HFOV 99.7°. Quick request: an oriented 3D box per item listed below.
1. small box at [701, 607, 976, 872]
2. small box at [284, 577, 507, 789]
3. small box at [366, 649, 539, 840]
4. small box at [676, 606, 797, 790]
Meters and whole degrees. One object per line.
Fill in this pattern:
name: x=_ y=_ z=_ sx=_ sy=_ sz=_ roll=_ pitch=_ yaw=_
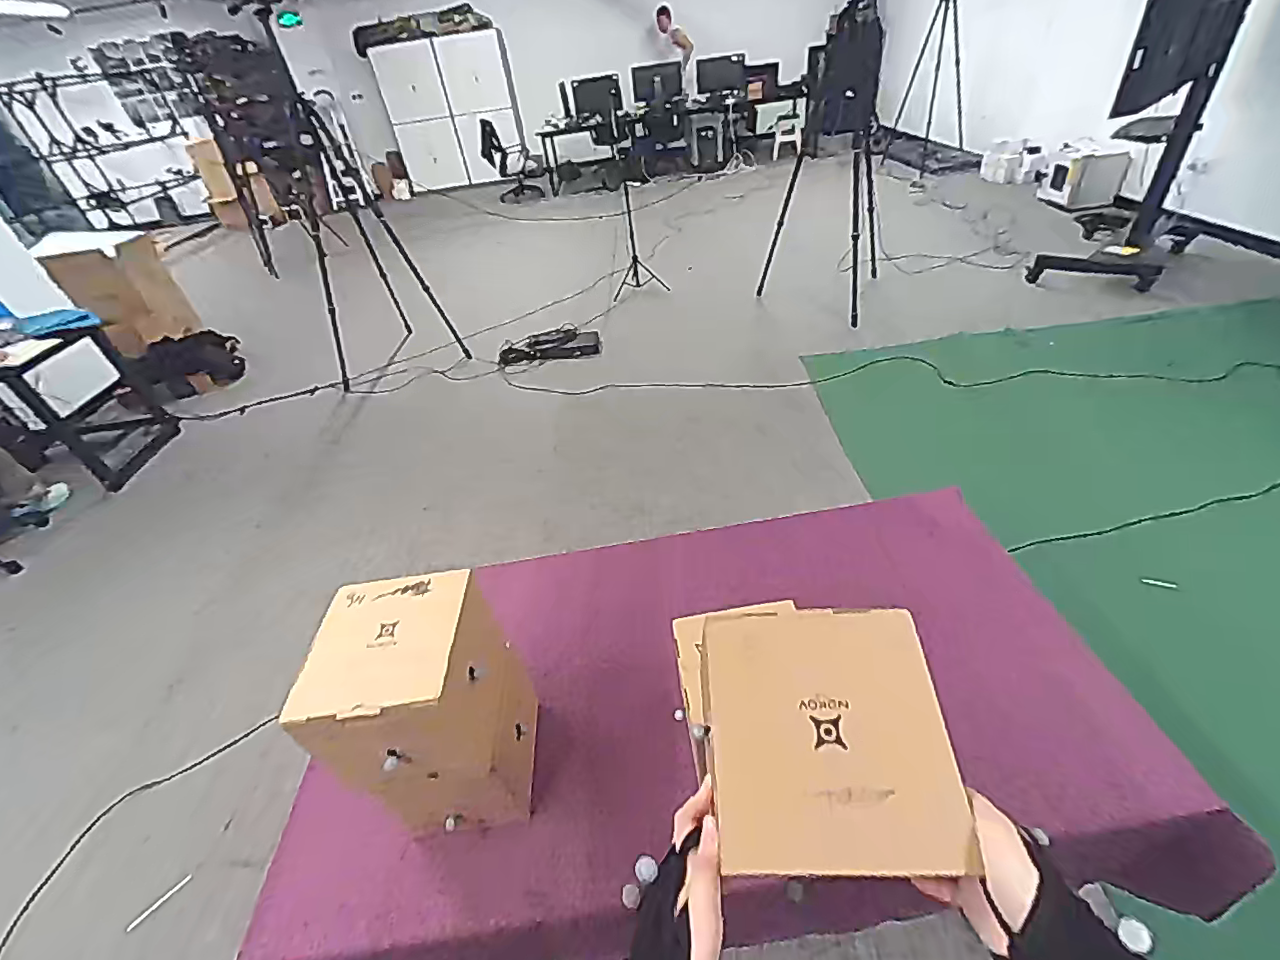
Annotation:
small box: x=0.139 y=0.223 z=0.460 sx=0.168 sy=0.176 sz=0.179 roll=-3 pitch=55 yaw=4
small box: x=-0.266 y=0.245 z=0.643 sx=0.168 sy=0.176 sz=0.179 roll=-8 pitch=39 yaw=1
small box: x=-0.242 y=0.366 z=0.752 sx=0.168 sy=0.176 sz=0.179 roll=-9 pitch=39 yaw=1
small box: x=0.152 y=0.303 z=0.747 sx=0.179 sy=0.176 sz=0.168 roll=-10 pitch=38 yaw=0
